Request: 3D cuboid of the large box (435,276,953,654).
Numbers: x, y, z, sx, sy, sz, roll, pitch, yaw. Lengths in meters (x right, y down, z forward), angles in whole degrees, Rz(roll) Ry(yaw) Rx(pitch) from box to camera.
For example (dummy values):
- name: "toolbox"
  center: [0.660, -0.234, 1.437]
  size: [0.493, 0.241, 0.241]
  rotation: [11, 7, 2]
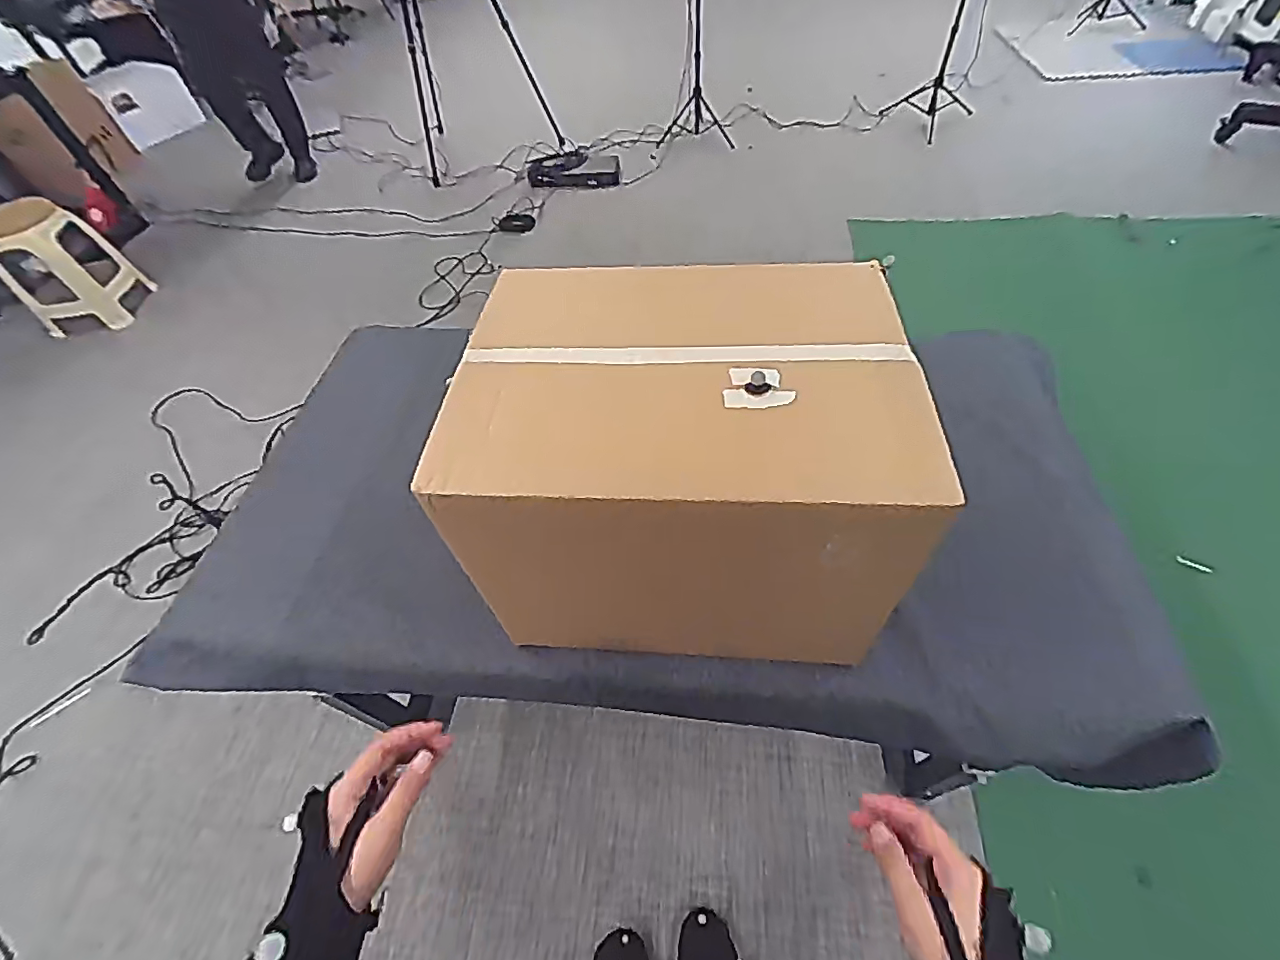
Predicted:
- name: "large box"
  center: [0.049, -0.011, 0.616]
  size: [0.408, 0.320, 0.320]
  rotation: [2, 53, 5]
